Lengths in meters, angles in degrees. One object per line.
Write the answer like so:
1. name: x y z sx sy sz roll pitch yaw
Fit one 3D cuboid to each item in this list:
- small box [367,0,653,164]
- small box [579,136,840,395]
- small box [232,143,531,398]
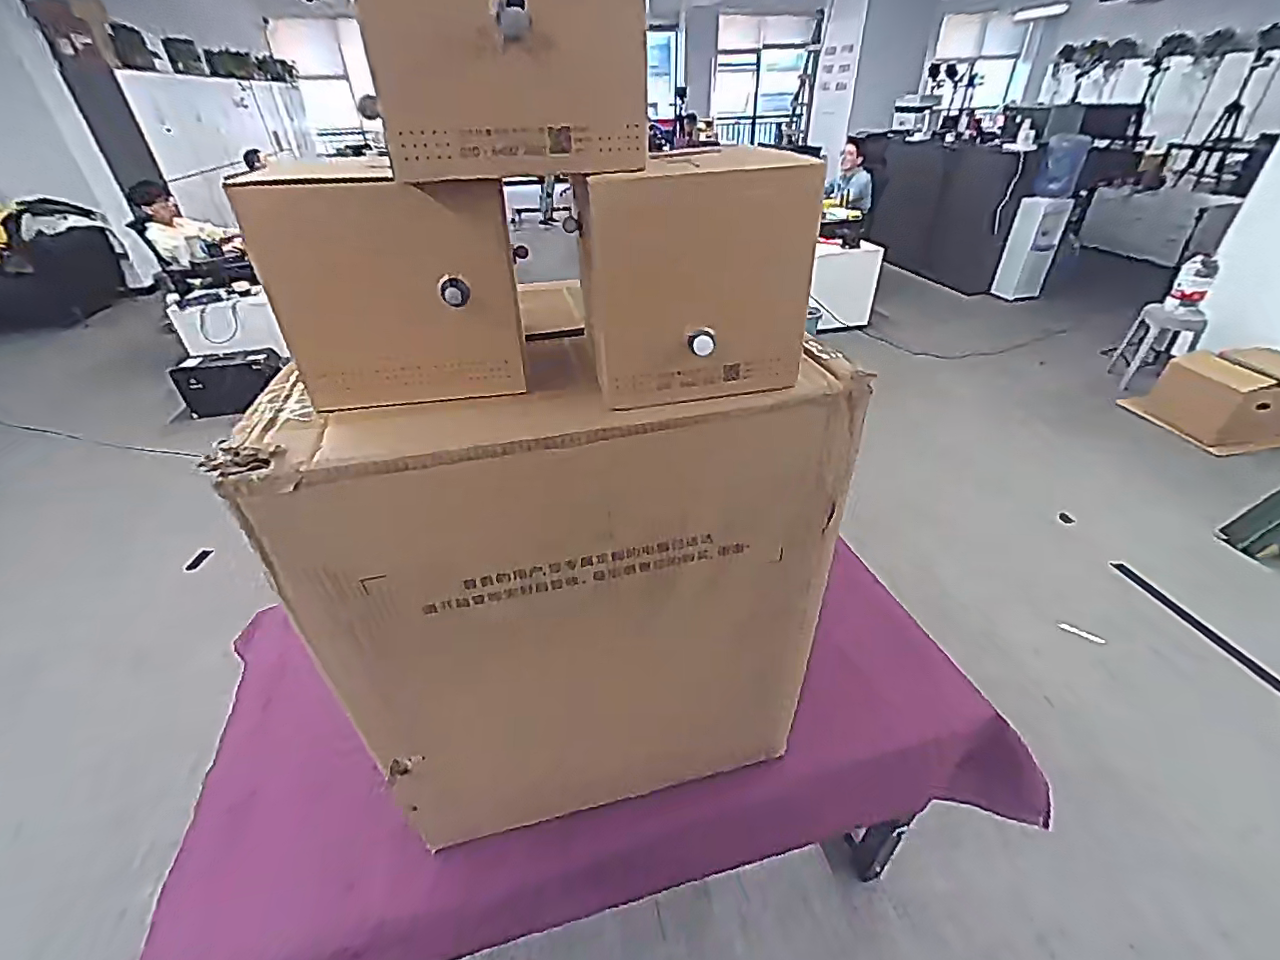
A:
1. small box: -0.091 -0.316 0.366 0.168 0.176 0.179 -11 36 -15
2. small box: 0.041 -0.189 0.463 0.168 0.176 0.179 -9 37 -8
3. small box: -0.189 -0.184 0.464 0.179 0.176 0.168 -8 35 -9
